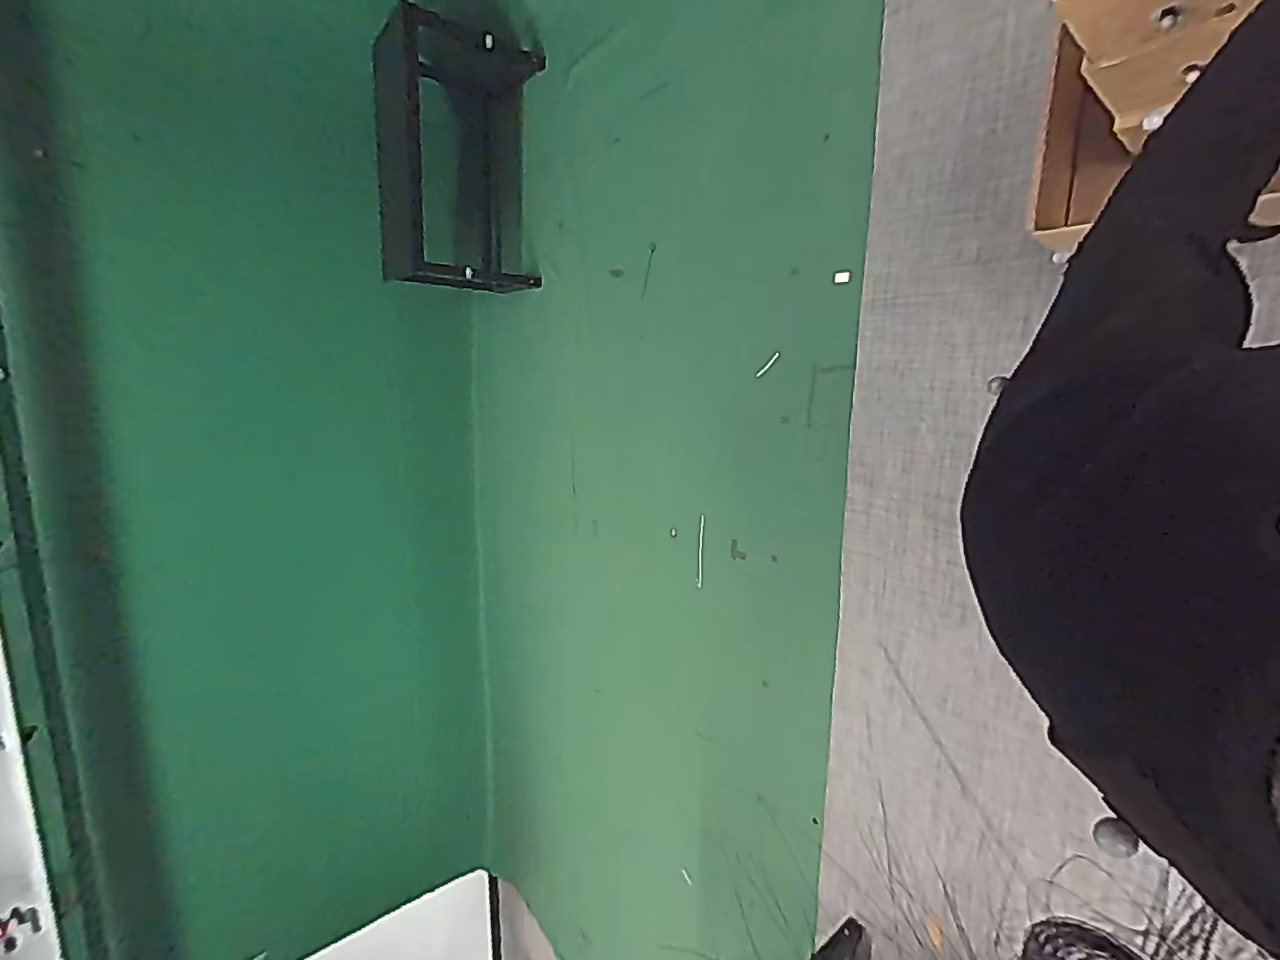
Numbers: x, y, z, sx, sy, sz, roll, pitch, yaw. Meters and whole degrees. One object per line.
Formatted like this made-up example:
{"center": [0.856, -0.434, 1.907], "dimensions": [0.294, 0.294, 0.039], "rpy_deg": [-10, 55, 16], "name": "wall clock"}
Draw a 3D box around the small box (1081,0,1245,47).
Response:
{"center": [0.501, -0.542, 0.477], "dimensions": [0.168, 0.176, 0.179], "rpy_deg": [11, 105, 52], "name": "small box"}
